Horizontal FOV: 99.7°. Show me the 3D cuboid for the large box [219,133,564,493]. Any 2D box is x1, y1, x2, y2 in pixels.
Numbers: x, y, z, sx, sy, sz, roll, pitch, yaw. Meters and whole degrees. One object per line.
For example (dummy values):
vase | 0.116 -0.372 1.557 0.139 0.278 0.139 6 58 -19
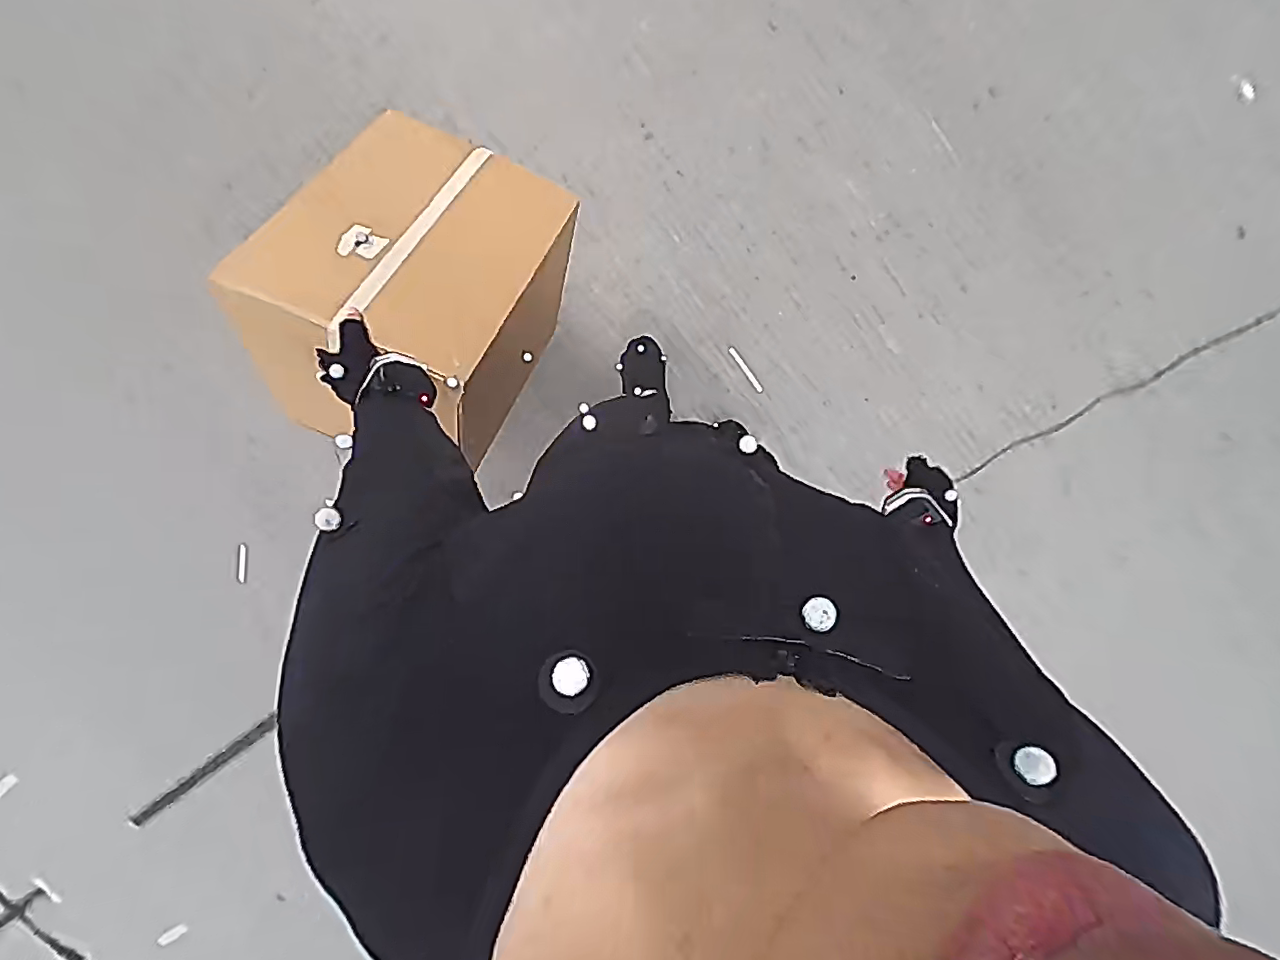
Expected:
large box | -0.351 -0.255 0.882 0.320 0.320 0.408 21 60 -5
